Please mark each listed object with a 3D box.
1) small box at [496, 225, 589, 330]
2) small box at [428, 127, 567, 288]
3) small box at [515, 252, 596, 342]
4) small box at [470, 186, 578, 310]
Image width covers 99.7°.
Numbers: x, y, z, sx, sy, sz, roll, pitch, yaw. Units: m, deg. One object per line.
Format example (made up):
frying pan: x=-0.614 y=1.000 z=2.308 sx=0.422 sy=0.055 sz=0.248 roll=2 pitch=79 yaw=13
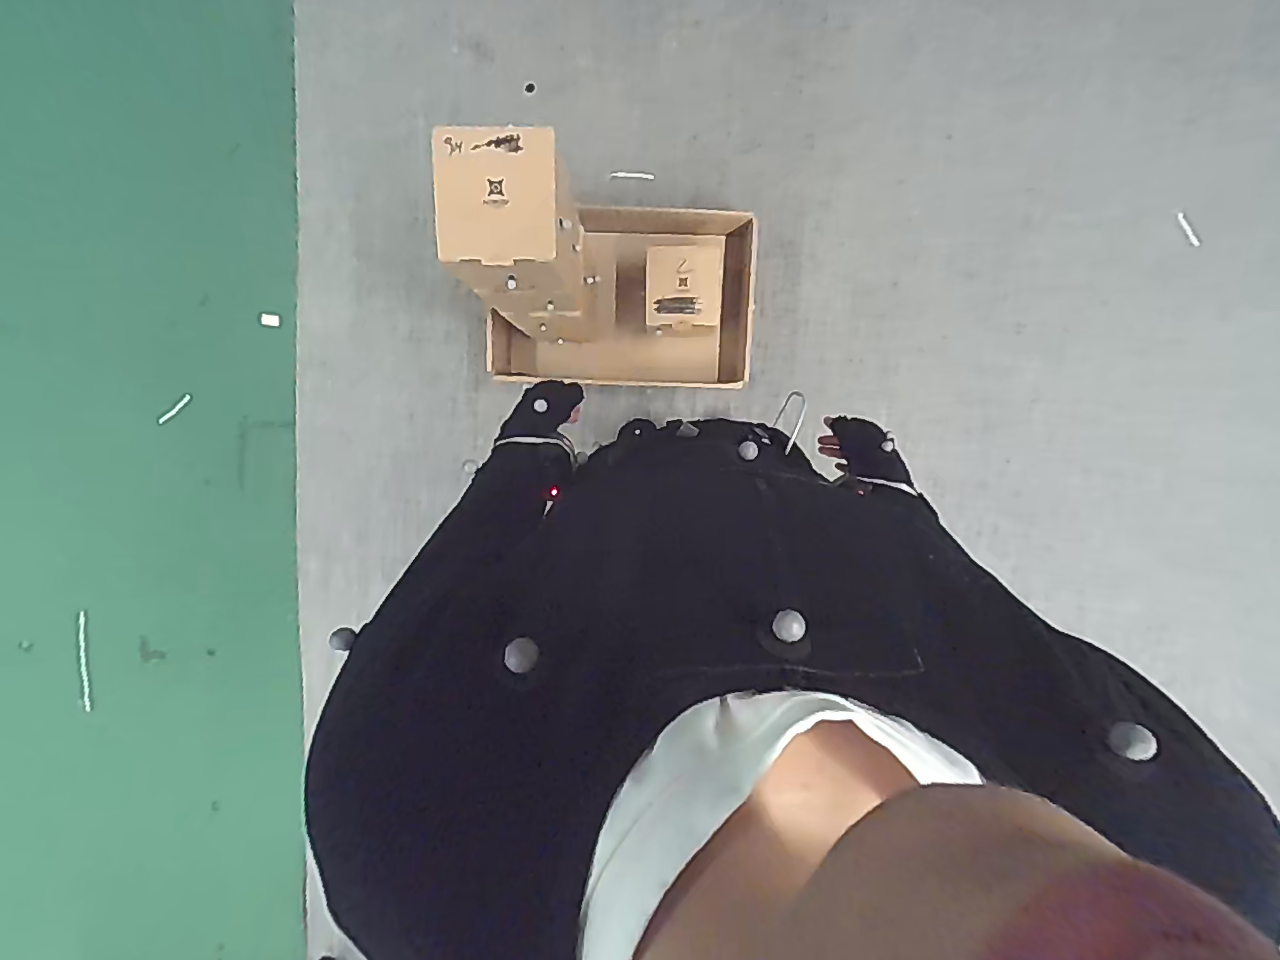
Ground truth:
small box: x=-0.198 y=-0.419 z=1.131 sx=0.168 sy=0.176 sz=0.179 roll=2 pitch=97 yaw=0
small box: x=-0.201 y=-0.391 z=0.804 sx=0.168 sy=0.176 sz=0.179 roll=0 pitch=97 yaw=-1
small box: x=-0.197 y=-0.436 z=1.293 sx=0.168 sy=0.176 sz=0.179 roll=3 pitch=97 yaw=0
small box: x=-0.201 y=-0.407 z=0.967 sx=0.168 sy=0.176 sz=0.179 roll=0 pitch=96 yaw=0
